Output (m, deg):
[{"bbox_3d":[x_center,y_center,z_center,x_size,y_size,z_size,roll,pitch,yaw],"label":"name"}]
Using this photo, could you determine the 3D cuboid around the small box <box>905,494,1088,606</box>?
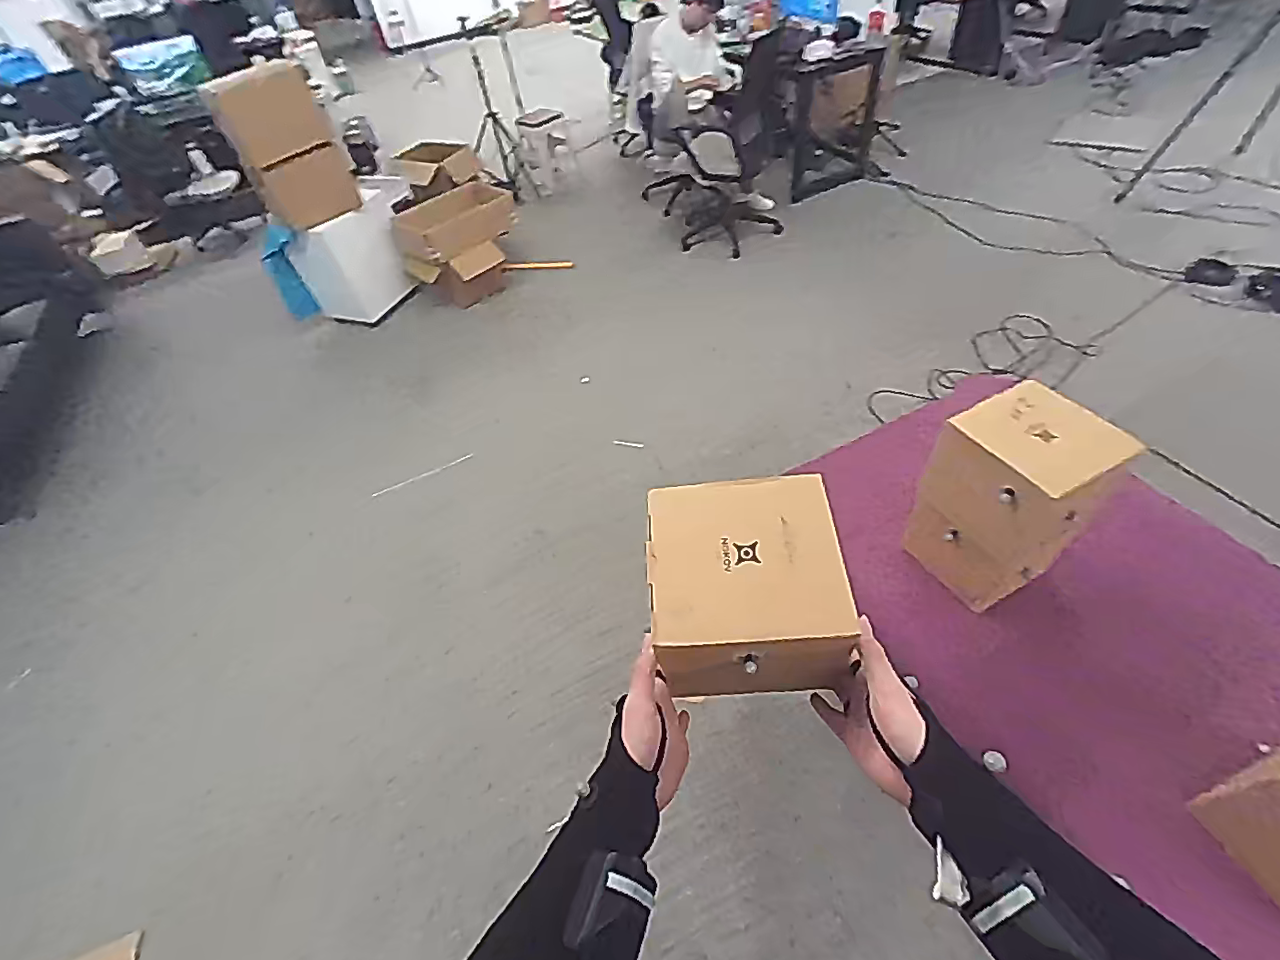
[{"bbox_3d":[0.597,0.093,0.932,0.168,0.176,0.179,-26,49,-12],"label":"small box"}]

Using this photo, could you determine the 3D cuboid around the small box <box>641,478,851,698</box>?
[{"bbox_3d":[0.099,0.119,0.560,0.179,0.176,0.168,-5,54,6],"label":"small box"}]

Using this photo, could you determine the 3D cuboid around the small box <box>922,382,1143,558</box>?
[{"bbox_3d":[0.562,-0.008,0.804,0.168,0.176,0.179,-24,49,-12],"label":"small box"}]

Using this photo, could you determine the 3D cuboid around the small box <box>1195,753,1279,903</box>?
[{"bbox_3d":[0.816,0.408,0.613,0.168,0.176,0.179,-22,49,-9],"label":"small box"}]
